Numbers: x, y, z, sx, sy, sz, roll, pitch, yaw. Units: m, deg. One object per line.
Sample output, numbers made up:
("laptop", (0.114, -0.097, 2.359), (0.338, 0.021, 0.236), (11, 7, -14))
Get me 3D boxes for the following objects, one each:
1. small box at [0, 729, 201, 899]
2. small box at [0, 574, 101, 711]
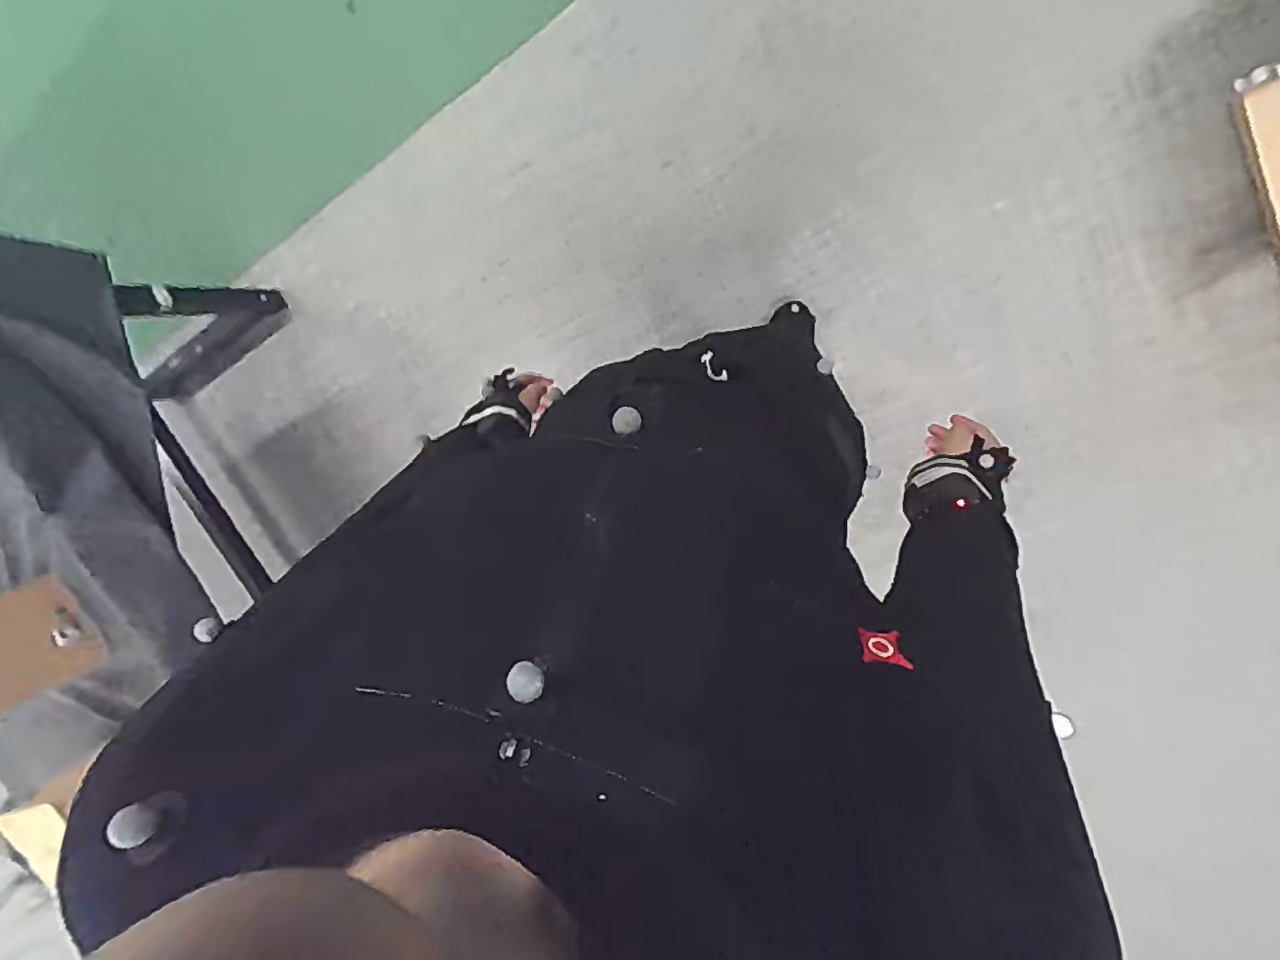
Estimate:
("small box", (-0.886, 0.544, 0.896), (0.179, 0.176, 0.168), (-22, 102, 19))
("small box", (-1.012, 0.272, 0.837), (0.179, 0.176, 0.168), (-23, 103, 18))
